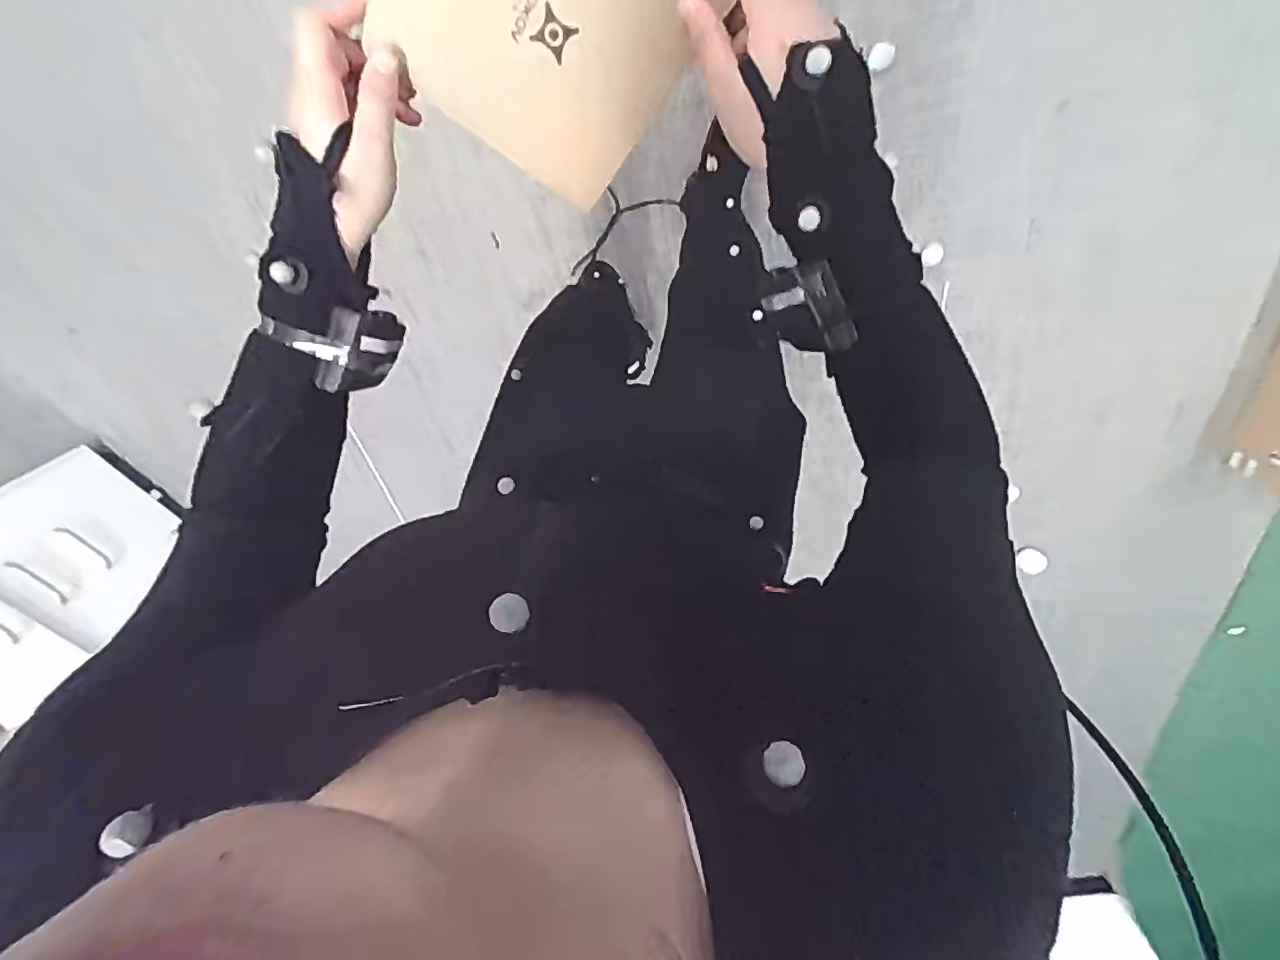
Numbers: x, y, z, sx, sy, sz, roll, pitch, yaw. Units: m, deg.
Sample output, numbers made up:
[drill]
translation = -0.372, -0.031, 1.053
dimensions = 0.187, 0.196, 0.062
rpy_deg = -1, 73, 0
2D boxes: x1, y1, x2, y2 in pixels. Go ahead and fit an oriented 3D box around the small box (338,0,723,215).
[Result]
[small box]
translation = -0.067, -0.333, 0.367
dimensions = 0.179, 0.176, 0.168
rpy_deg = 25, 136, -29
